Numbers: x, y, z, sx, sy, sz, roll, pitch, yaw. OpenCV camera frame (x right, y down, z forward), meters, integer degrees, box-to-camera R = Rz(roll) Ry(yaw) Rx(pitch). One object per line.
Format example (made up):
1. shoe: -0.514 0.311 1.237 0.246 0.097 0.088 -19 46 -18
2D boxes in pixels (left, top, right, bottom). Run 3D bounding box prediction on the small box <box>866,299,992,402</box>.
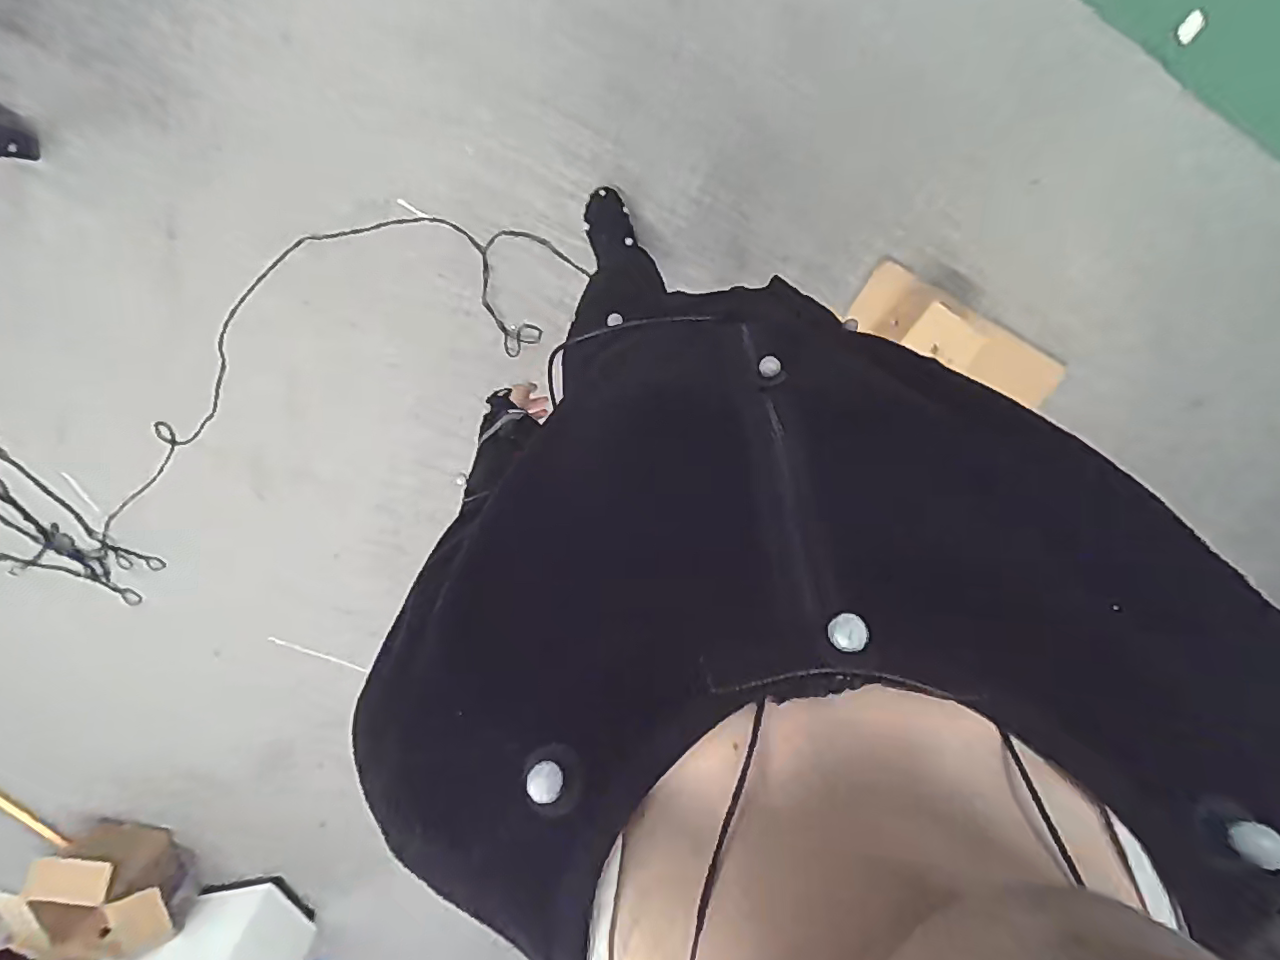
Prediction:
1. small box: 0.688 -0.320 1.312 0.179 0.176 0.168 31 113 -12
